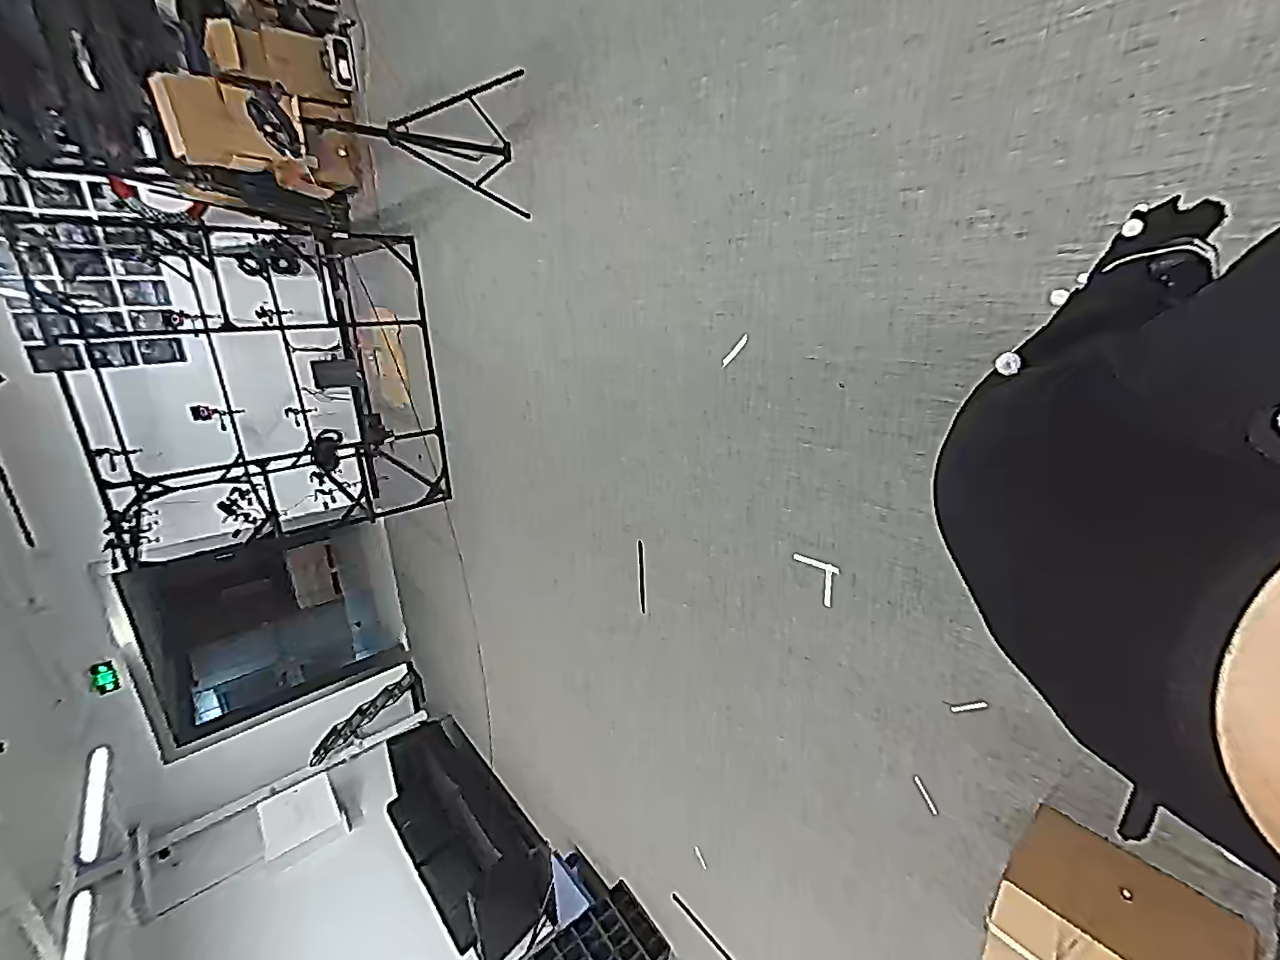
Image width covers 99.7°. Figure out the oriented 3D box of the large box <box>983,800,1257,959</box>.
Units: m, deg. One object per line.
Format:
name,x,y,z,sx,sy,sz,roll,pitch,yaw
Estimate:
large box,1.106,1.074,1.273,0.408,0.320,0.320,20,118,46
